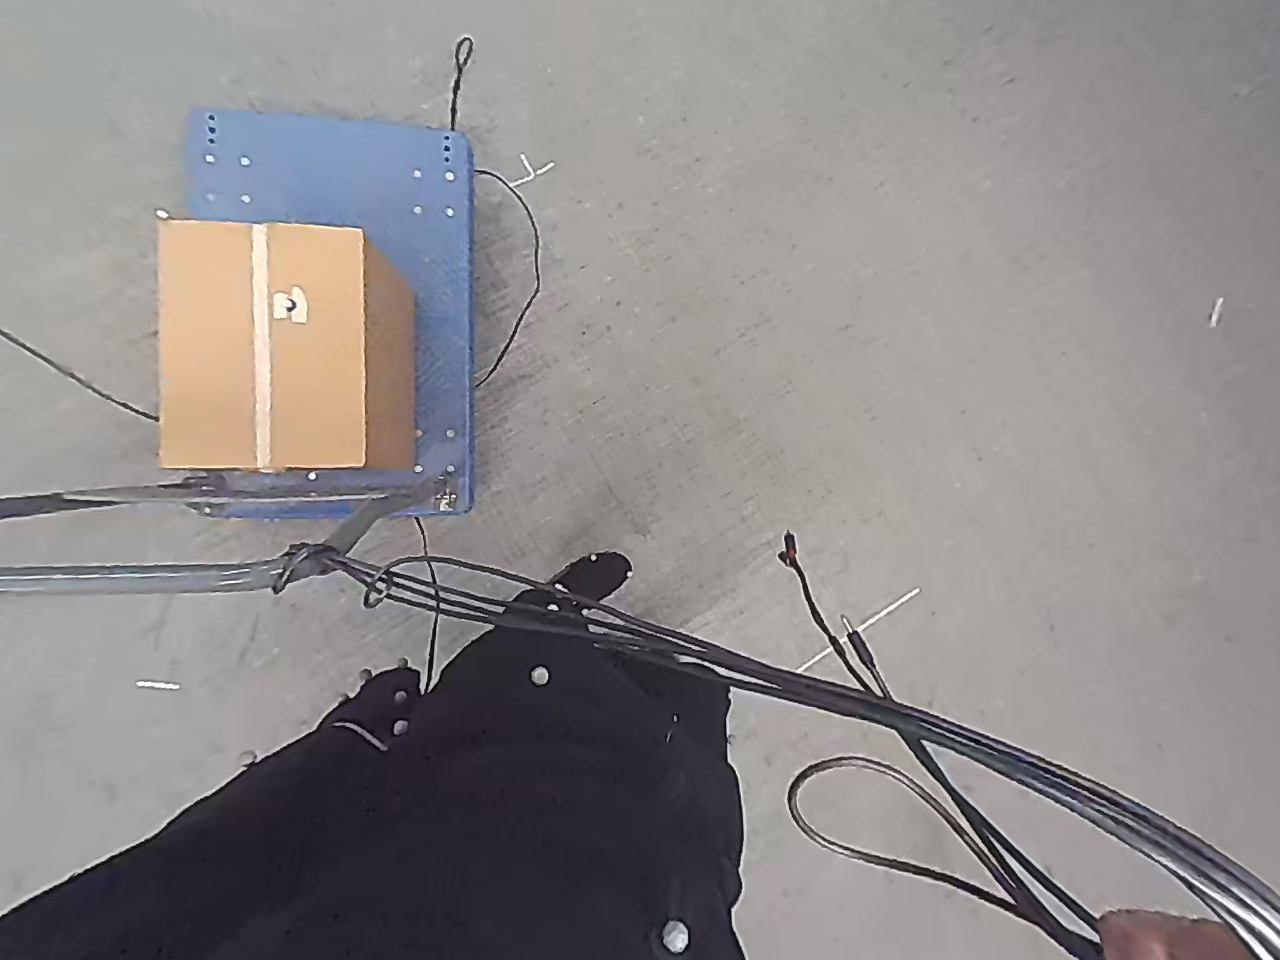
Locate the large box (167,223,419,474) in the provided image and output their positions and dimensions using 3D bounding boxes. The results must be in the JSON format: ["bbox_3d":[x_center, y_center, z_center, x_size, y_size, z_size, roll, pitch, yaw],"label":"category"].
[{"bbox_3d":[-0.630,-0.219,1.041,0.320,0.320,0.408,-1,89,-8],"label":"large box"}]
